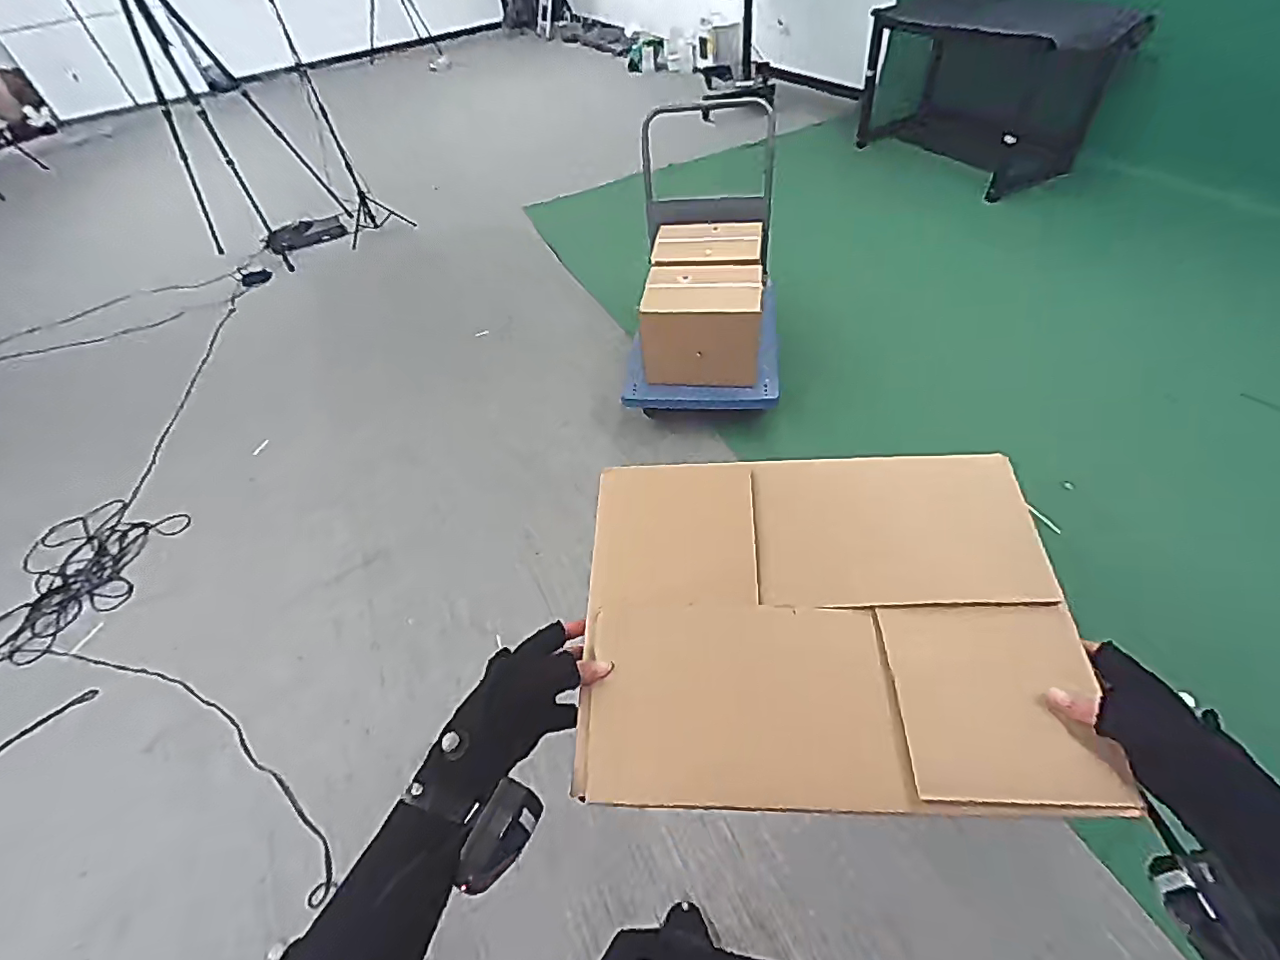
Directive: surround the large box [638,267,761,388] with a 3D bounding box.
[{"bbox_3d":[0.231,-0.553,1.974,0.408,0.320,0.320,3,49,12],"label":"large box"}]
